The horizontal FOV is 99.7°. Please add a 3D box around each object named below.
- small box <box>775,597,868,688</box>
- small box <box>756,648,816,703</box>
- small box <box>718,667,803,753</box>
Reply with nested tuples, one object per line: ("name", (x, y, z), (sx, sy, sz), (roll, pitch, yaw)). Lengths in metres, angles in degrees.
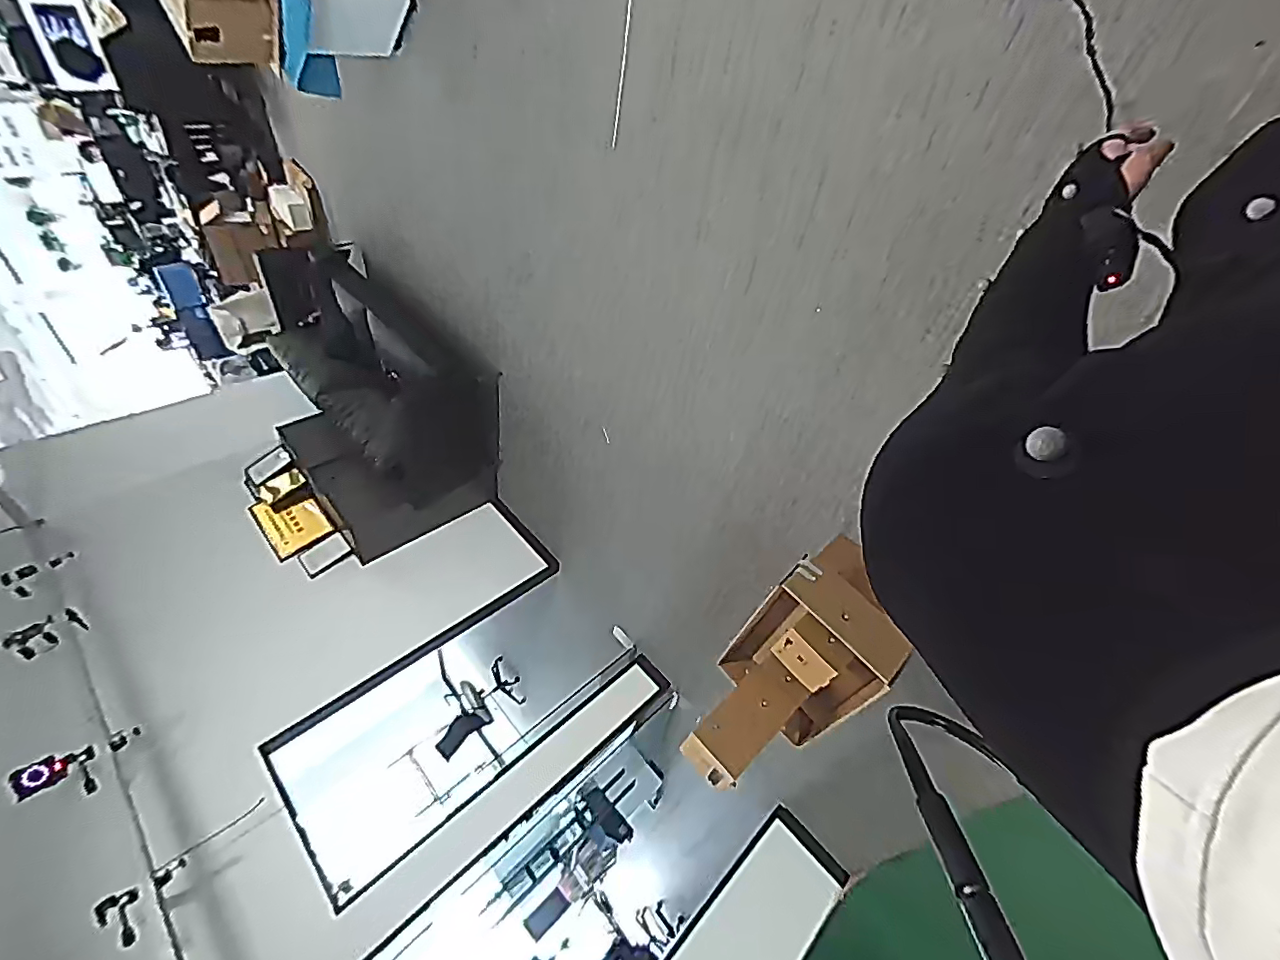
("small box", (0.555, 0.492, 1.649), (0.179, 0.176, 0.168), (44, 144, 20))
("small box", (0.505, 0.669, 1.849), (0.179, 0.176, 0.168), (43, 142, 22))
("small box", (0.390, 0.735, 1.753), (0.179, 0.176, 0.168), (41, 141, 23))
